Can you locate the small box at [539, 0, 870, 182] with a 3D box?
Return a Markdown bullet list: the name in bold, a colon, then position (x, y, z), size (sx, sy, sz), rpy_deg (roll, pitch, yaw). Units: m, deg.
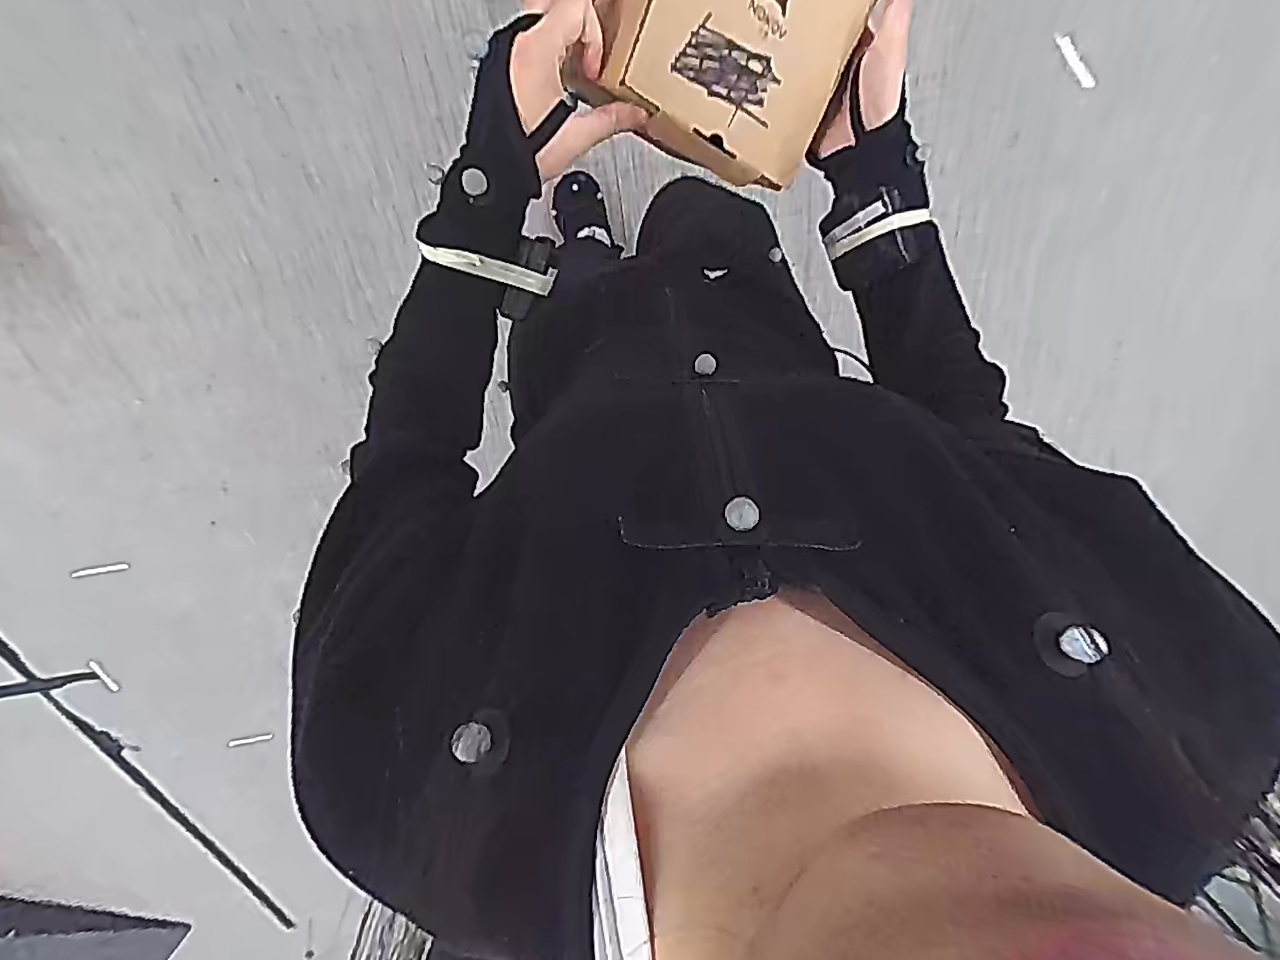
- **small box**: position (0.042, -0.356, 0.401), size (0.168, 0.176, 0.179), rpy_deg (5, 119, -38)
